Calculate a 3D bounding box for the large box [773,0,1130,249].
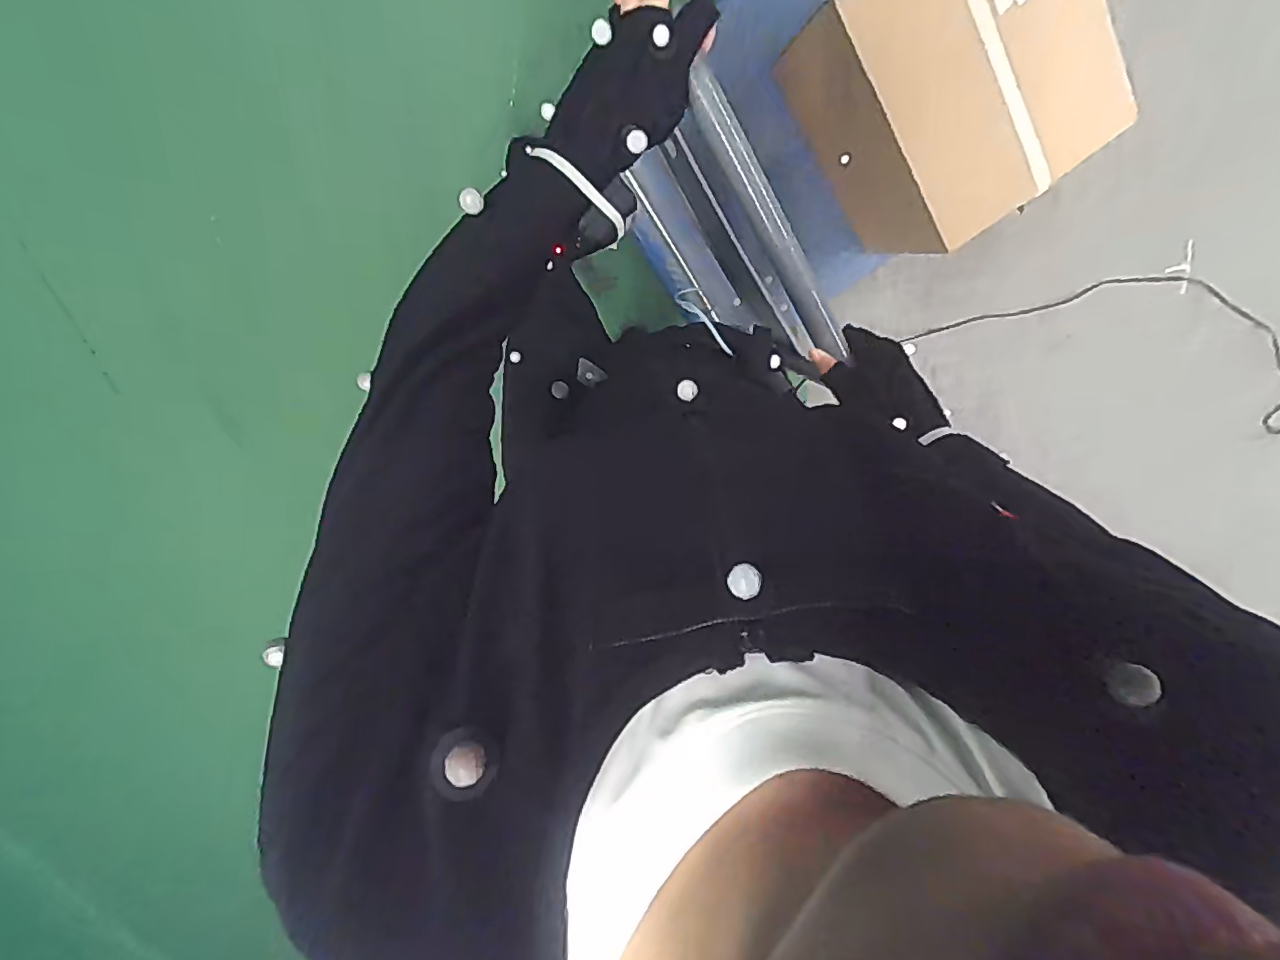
[{"bbox_3d":[0.484,-0.654,0.905,0.320,0.320,0.408,-35,109,11],"label":"large box"}]
